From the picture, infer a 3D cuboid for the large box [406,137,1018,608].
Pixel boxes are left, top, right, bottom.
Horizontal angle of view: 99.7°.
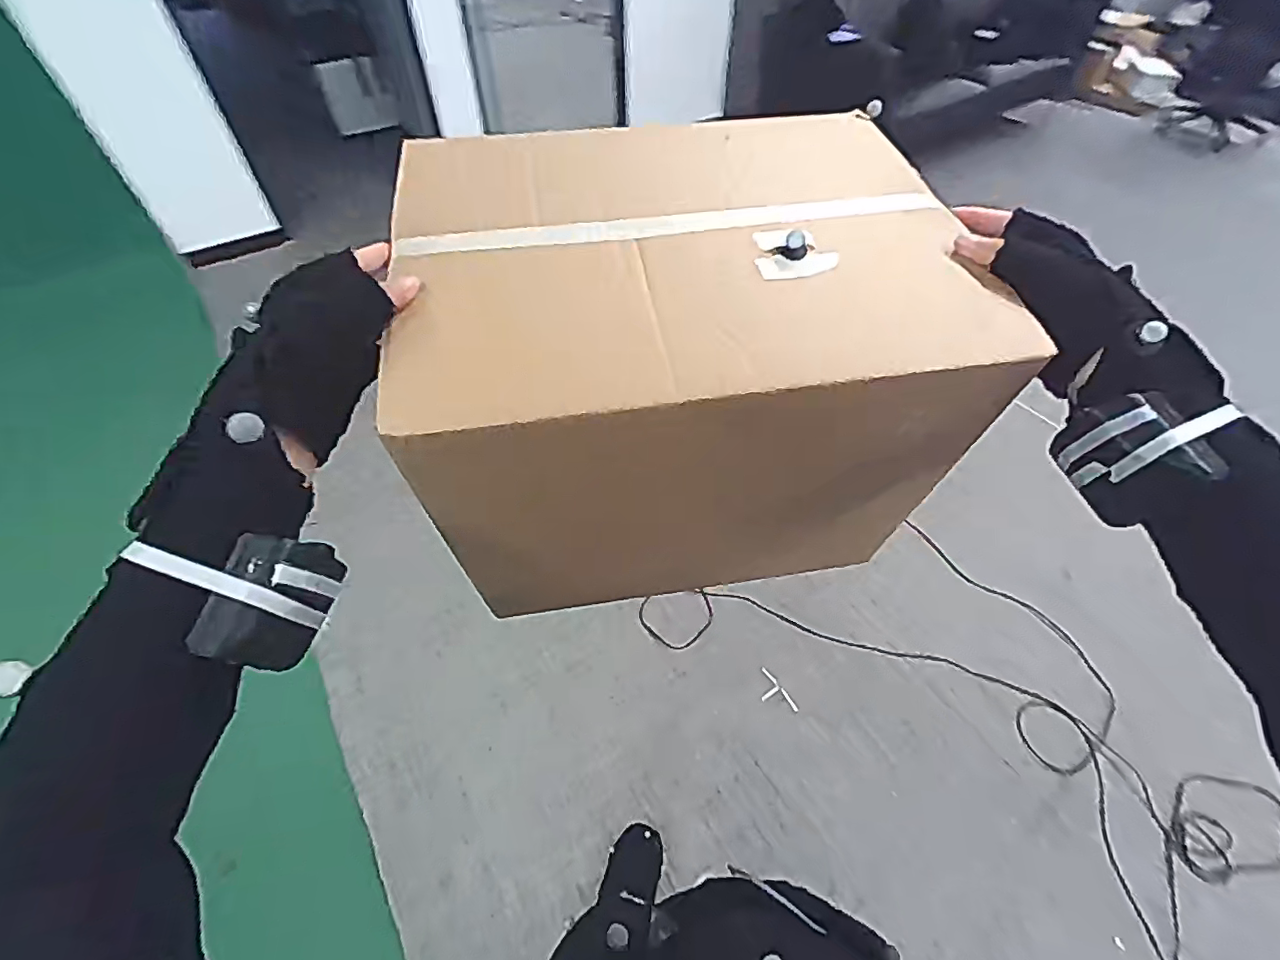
[{"bbox_3d":[0.027,-0.096,0.537,0.408,0.320,0.320,-7,58,-7],"label":"large box"}]
